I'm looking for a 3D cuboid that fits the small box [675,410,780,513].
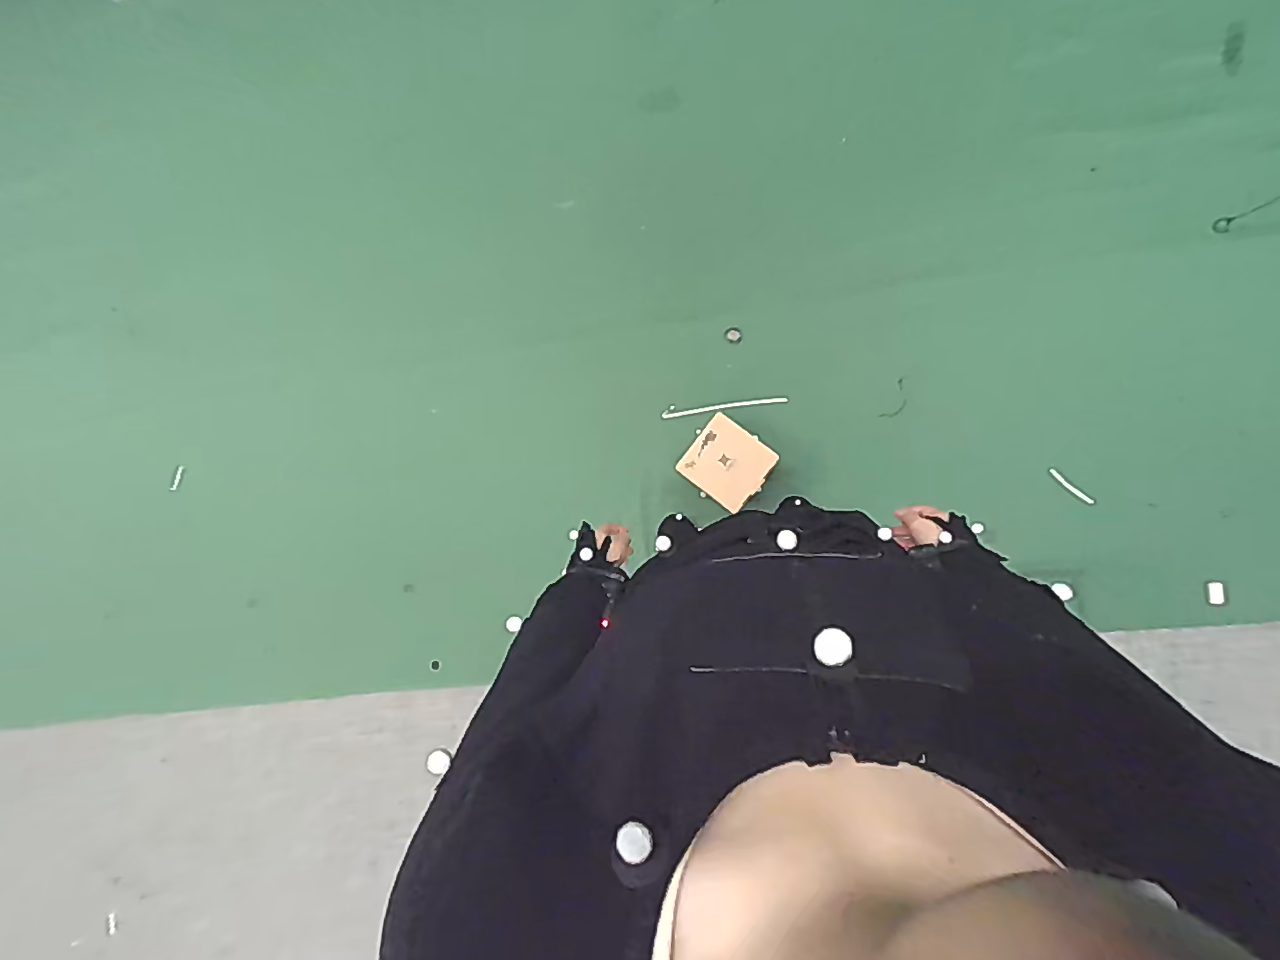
[{"bbox_3d":[0.205,-0.043,1.279,0.179,0.176,0.168,39,94,7],"label":"small box"}]
